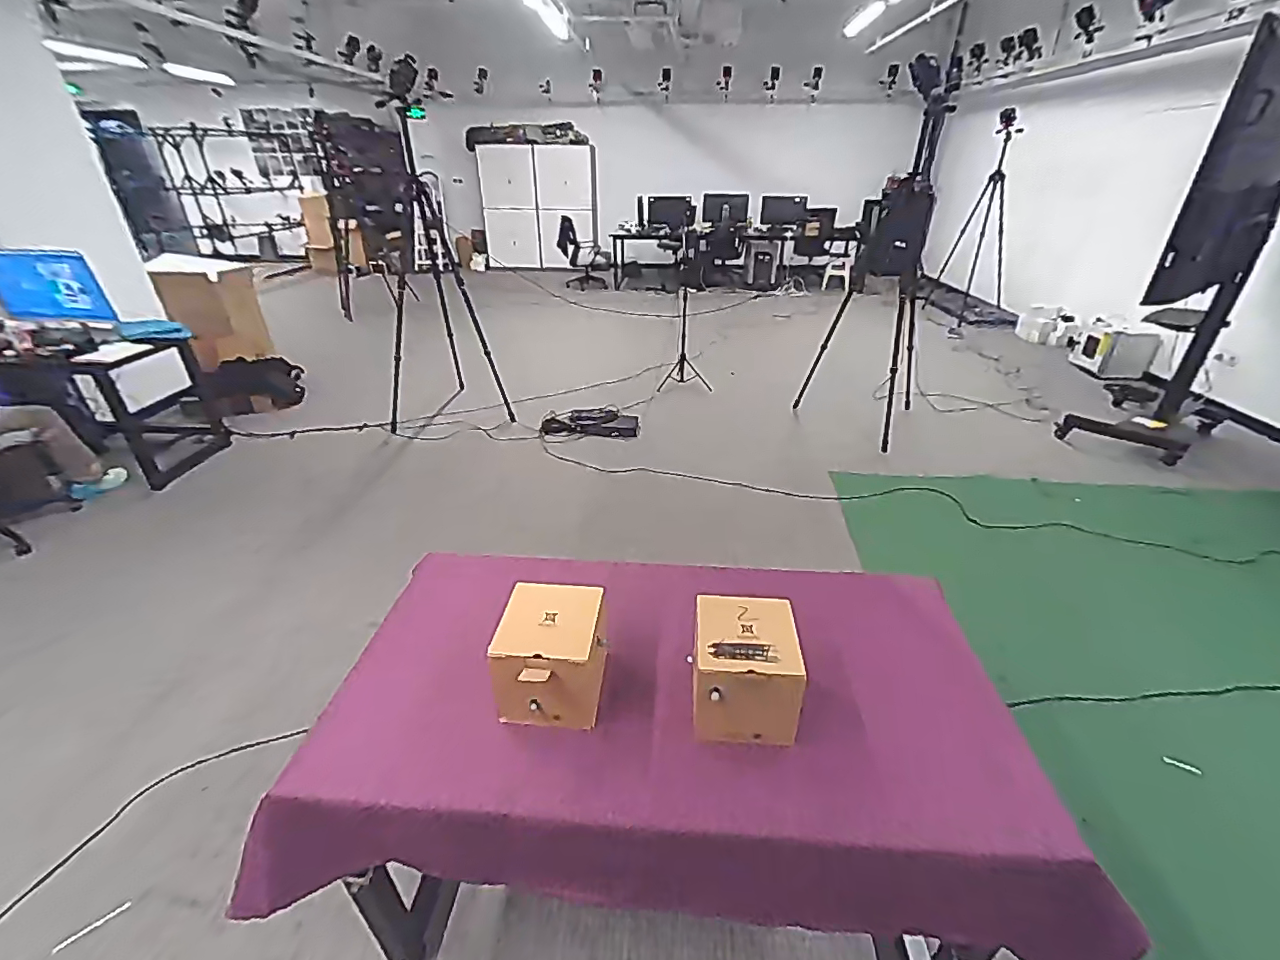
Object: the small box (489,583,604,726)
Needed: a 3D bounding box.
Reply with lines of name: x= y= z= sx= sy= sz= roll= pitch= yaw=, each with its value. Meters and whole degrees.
small box: x=-0.159 y=0.312 z=0.981 sx=0.168 sy=0.176 sz=0.179 roll=3 pitch=31 yaw=4
